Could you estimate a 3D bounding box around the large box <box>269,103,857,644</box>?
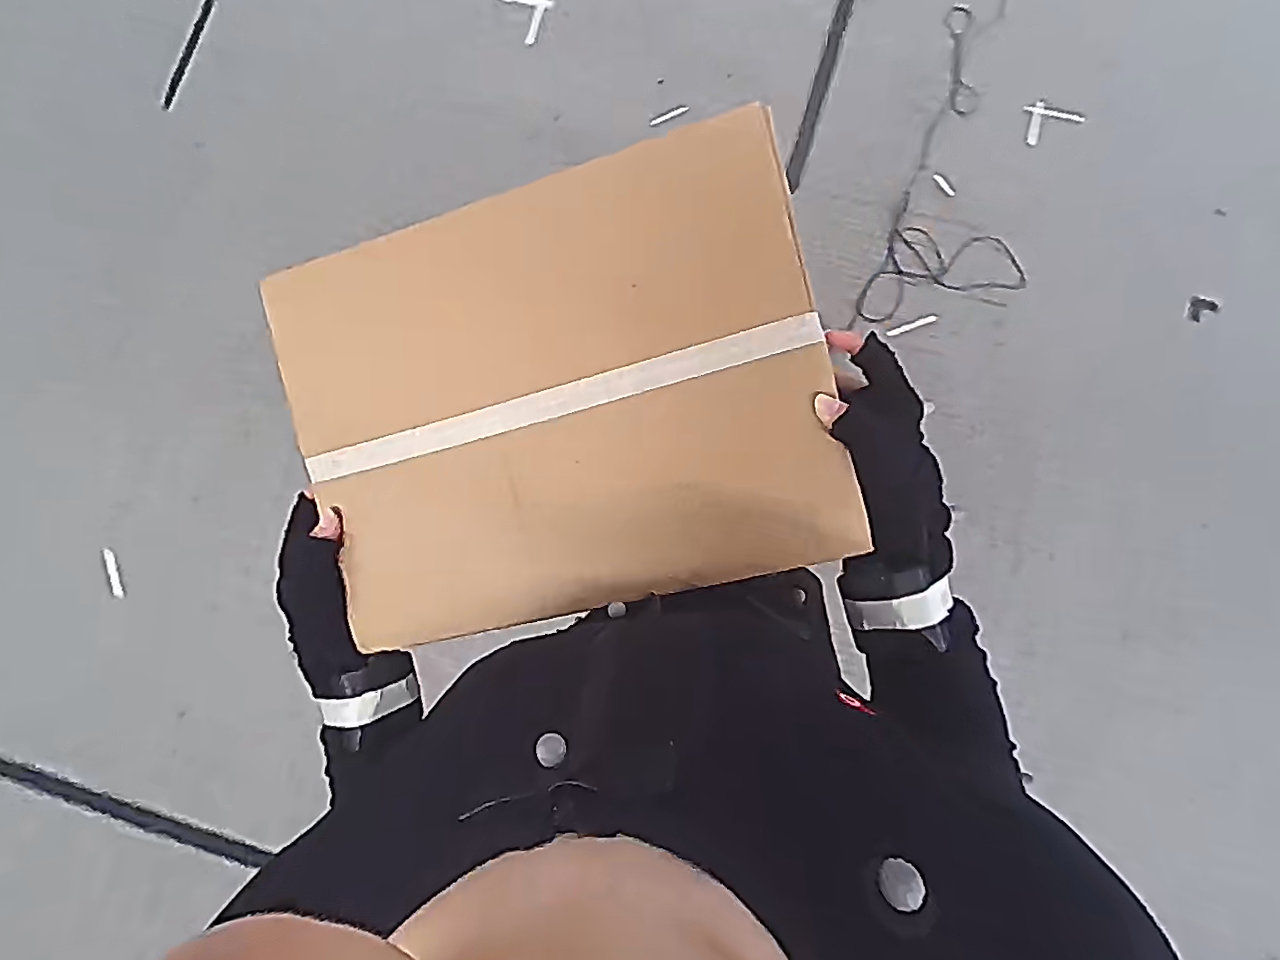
[{"bbox_3d":[-0.049,-0.074,0.553,0.408,0.320,0.320,-15,91,10],"label":"large box"}]
